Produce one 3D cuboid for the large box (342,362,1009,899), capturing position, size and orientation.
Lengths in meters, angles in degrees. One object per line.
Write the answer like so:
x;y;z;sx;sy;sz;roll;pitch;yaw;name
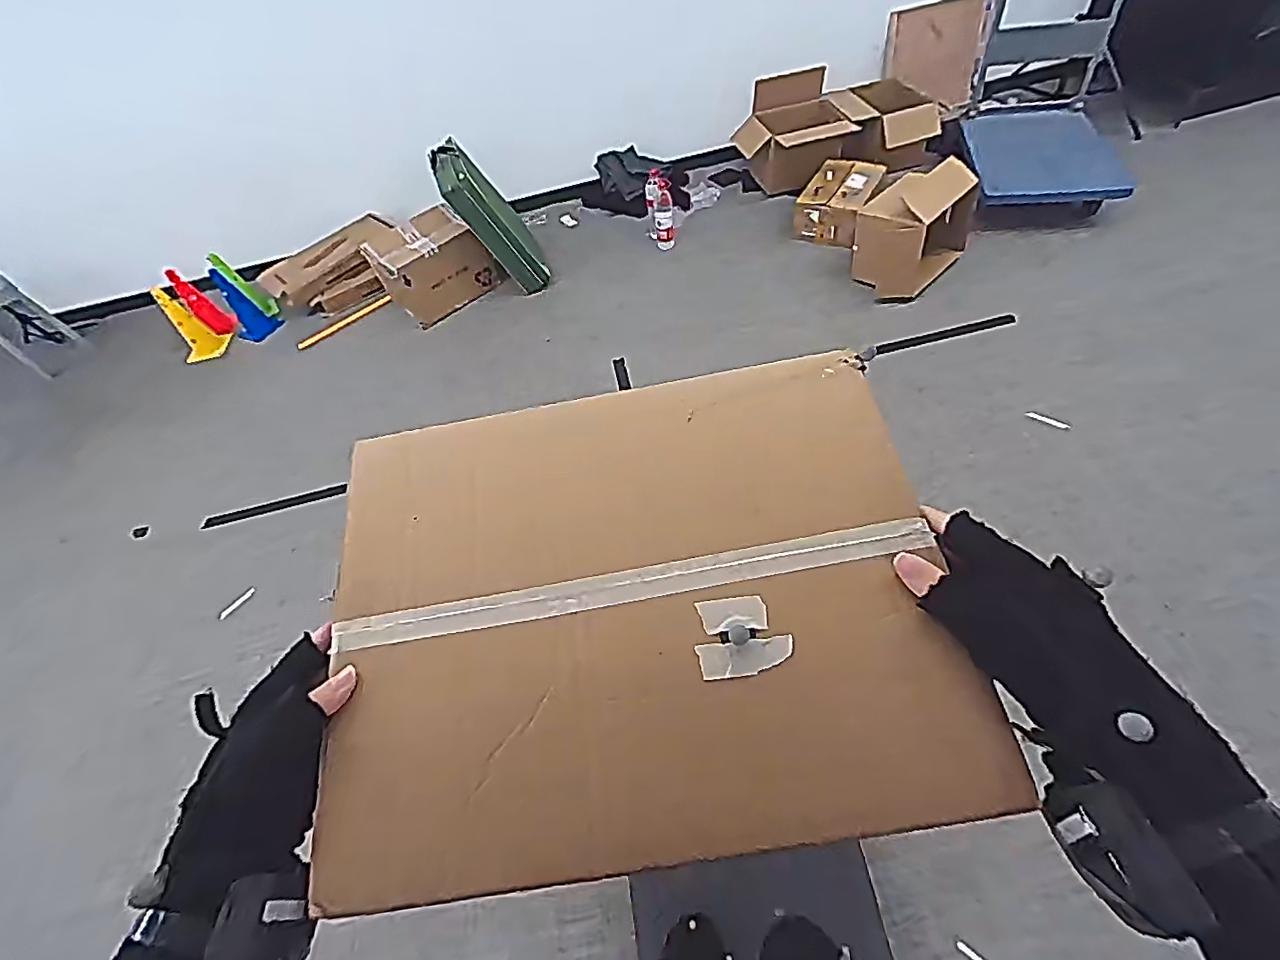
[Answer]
0.009;0.138;0.510;0.408;0.320;0.320;-10;64;1;large box
